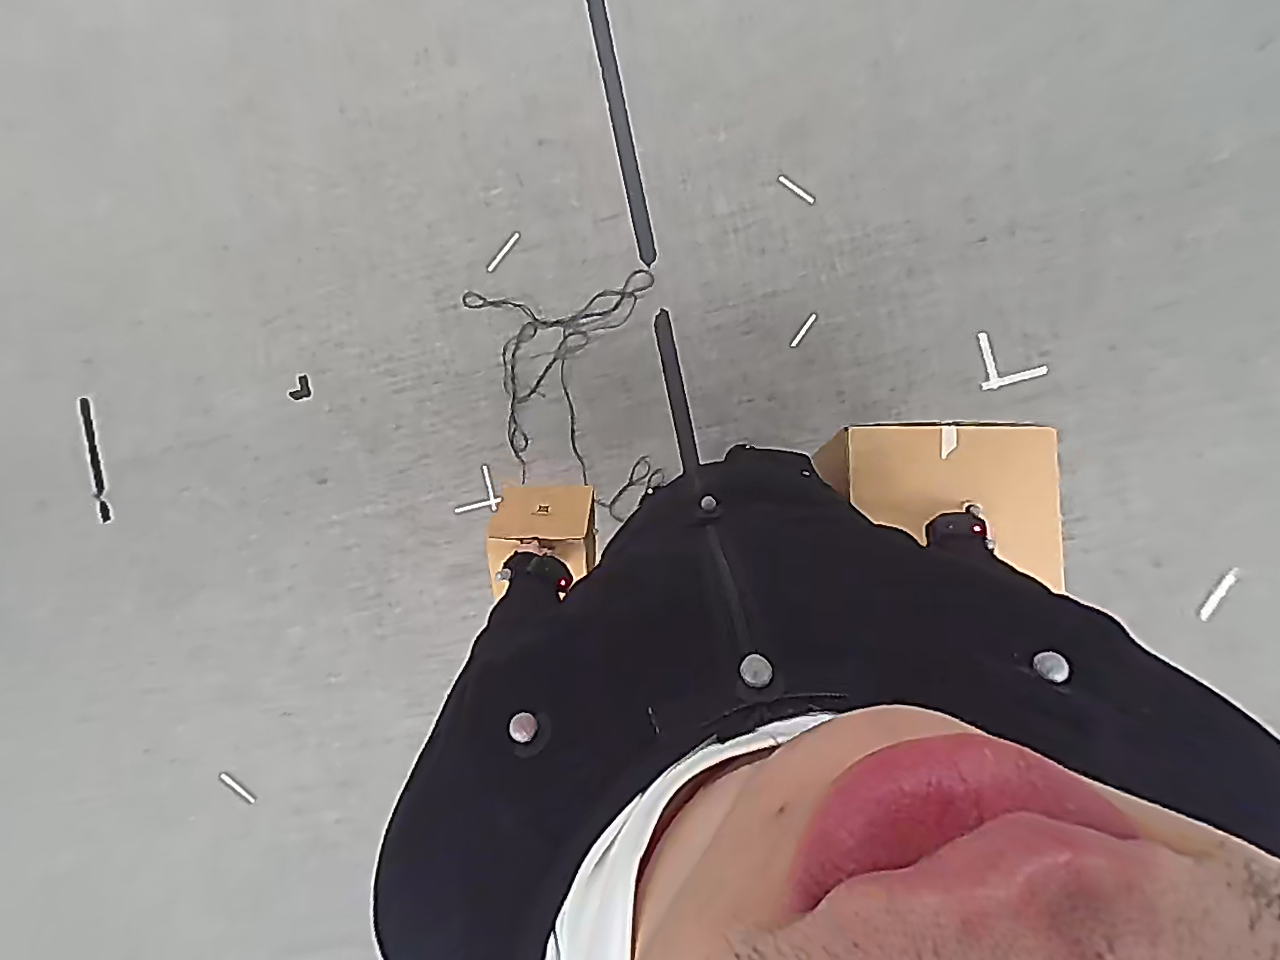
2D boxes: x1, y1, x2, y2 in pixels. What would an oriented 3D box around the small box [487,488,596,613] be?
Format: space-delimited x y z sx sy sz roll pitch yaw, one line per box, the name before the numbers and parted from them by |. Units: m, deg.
small box | -0.170 0.128 0.994 0.168 0.179 0.176 0 118 -1
